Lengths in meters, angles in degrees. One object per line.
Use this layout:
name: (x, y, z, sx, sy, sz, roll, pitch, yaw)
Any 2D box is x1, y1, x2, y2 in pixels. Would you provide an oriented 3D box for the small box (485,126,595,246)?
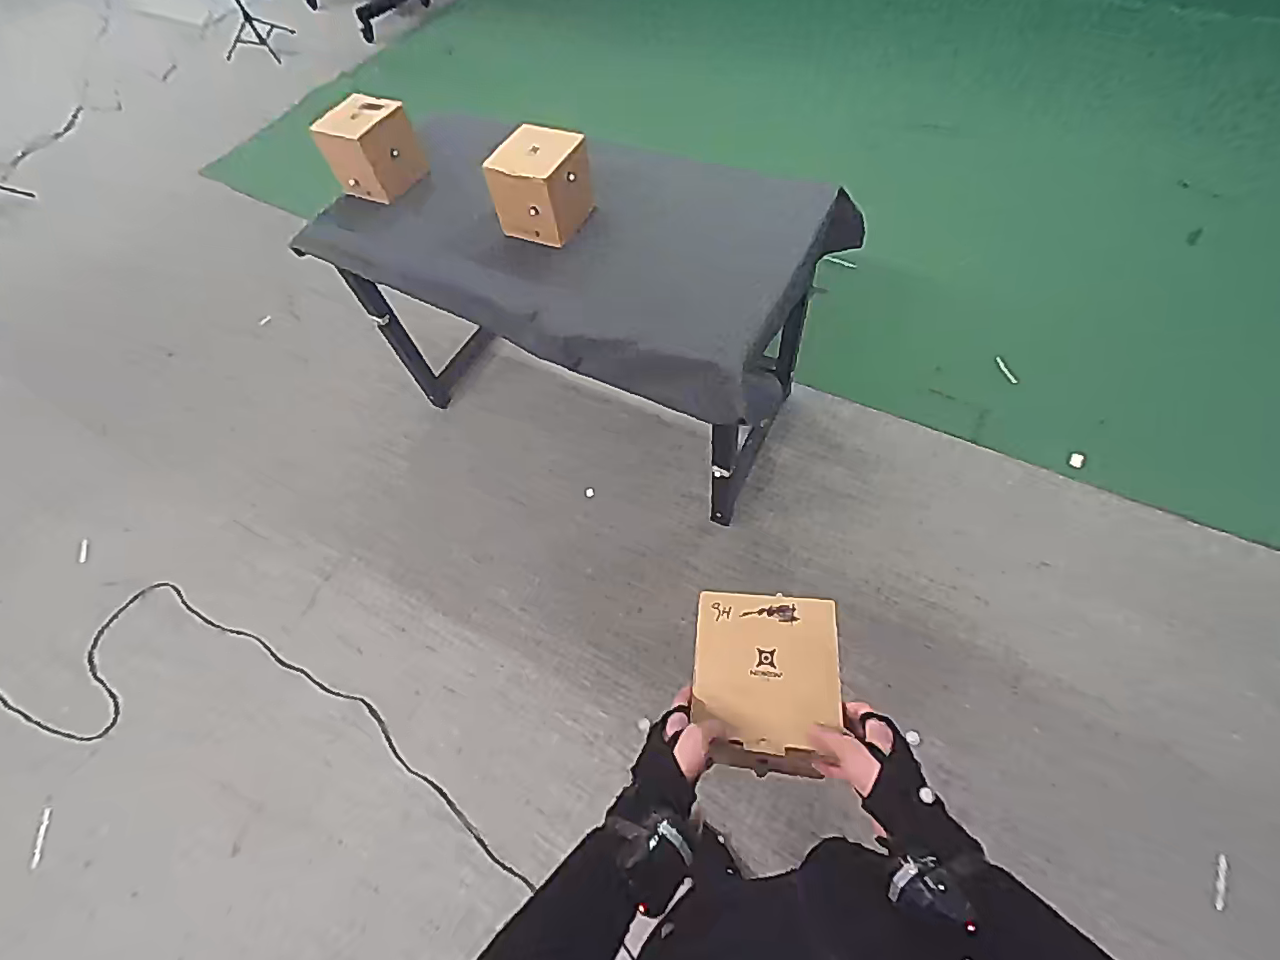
small box: (-0.216, -0.667, 1.237, 0.168, 0.176, 0.179, 22, 63, 17)

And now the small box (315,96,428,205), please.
small box: (-0.676, -0.847, 1.393, 0.168, 0.176, 0.179, 22, 64, 18)

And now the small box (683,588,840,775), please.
small box: (0.152, 0.255, 0.675, 0.168, 0.176, 0.179, 2, 55, 12)
